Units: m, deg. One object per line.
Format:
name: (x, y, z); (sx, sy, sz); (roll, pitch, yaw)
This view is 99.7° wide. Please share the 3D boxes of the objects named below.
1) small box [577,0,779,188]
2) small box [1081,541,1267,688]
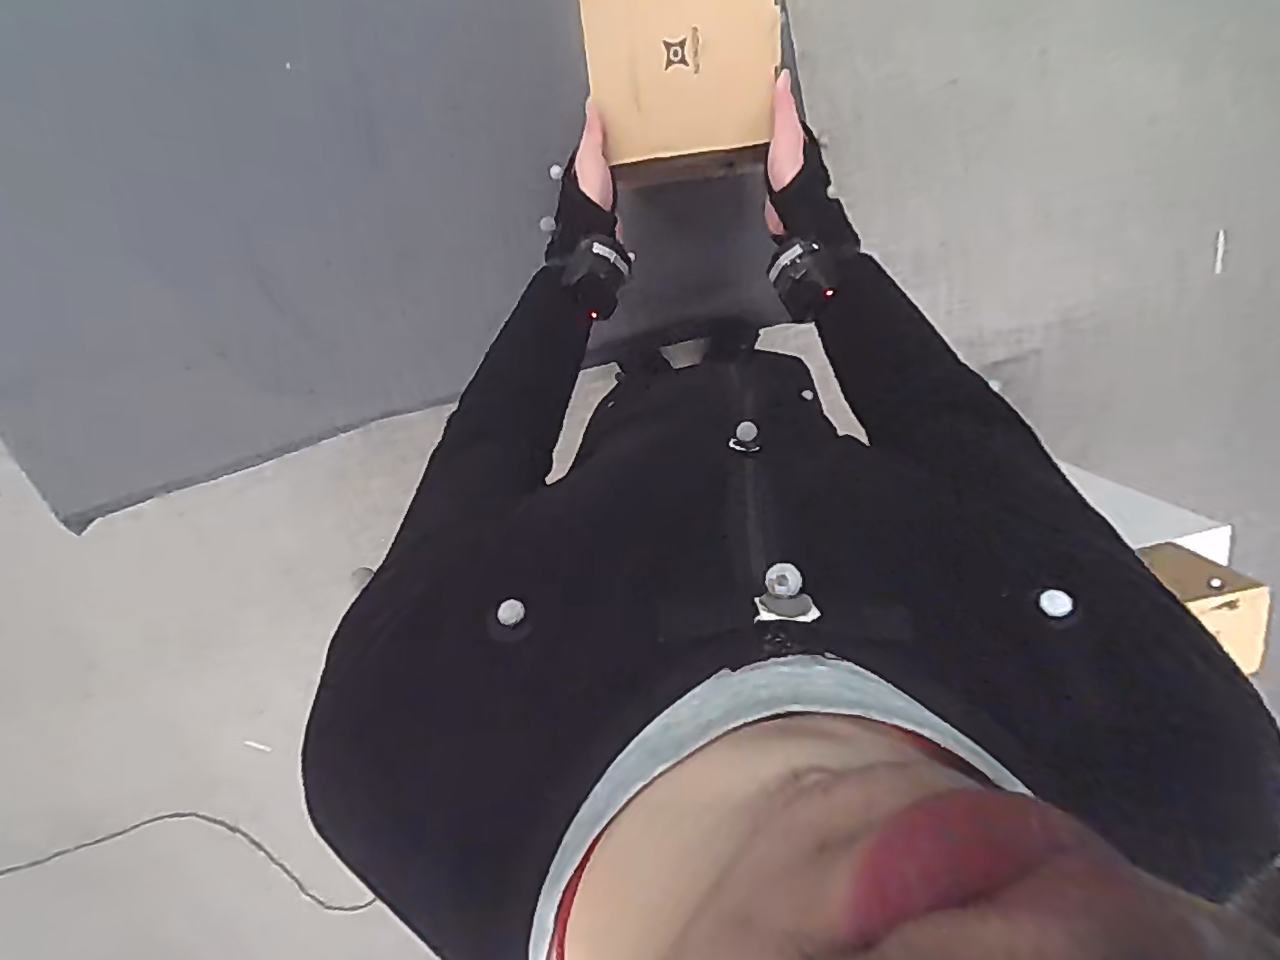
small box: (0.046, -0.412, 0.558); (0.179, 0.176, 0.168); (-2, 110, 10)
small box: (0.943, 0.237, 0.976); (0.168, 0.176, 0.179); (-14, 110, 4)
